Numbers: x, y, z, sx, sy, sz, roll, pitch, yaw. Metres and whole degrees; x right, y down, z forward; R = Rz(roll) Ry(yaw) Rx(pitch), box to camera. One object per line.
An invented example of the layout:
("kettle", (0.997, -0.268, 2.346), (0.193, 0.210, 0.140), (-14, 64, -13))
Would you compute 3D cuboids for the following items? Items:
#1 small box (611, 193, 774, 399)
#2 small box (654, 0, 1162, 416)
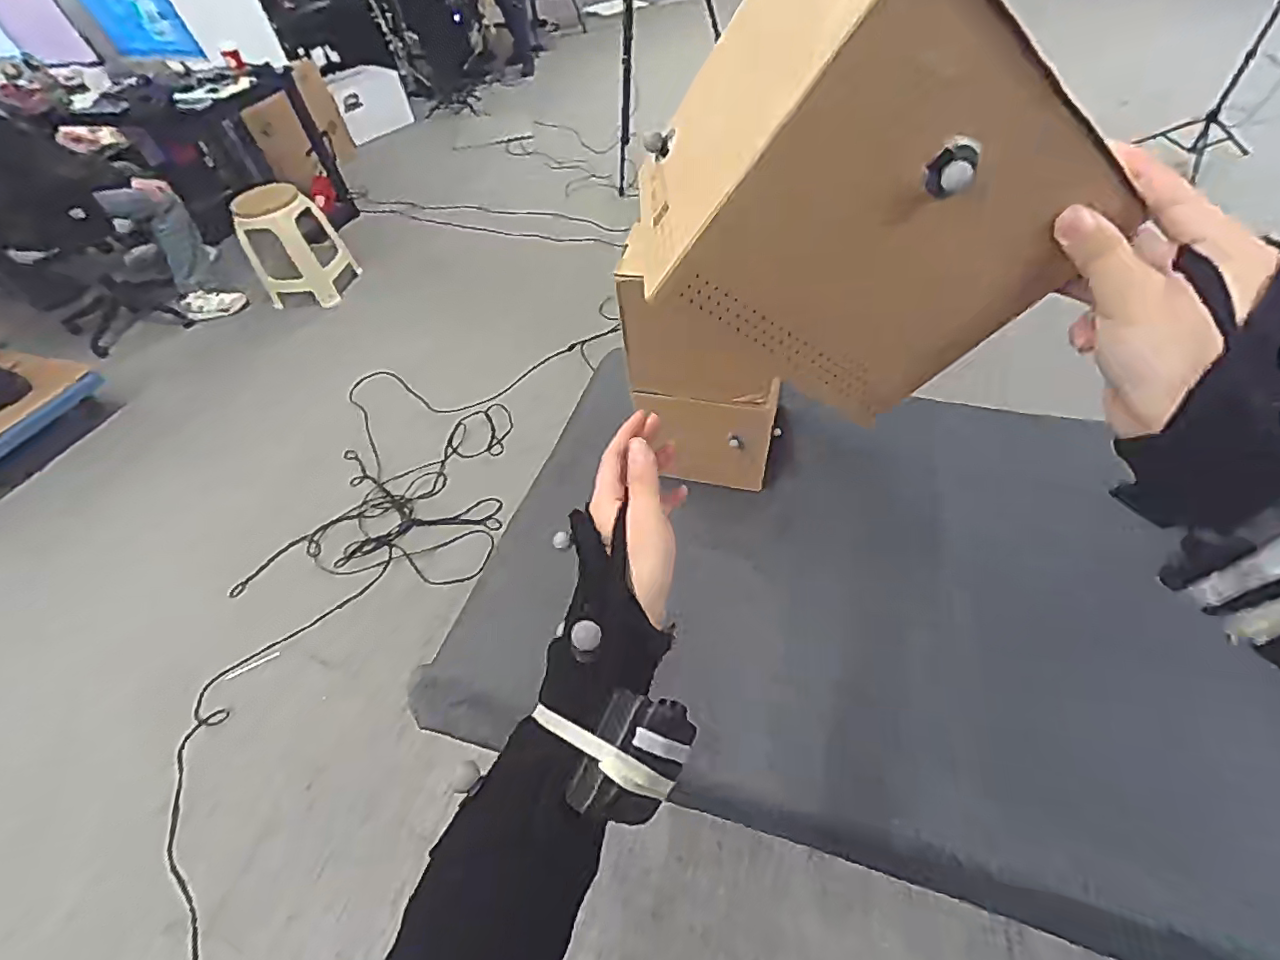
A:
("small box", (0.080, -0.215, 0.640), (0.179, 0.176, 0.168), (9, 56, 12))
("small box", (0.118, -0.165, 0.307), (0.179, 0.176, 0.168), (23, 45, -28))
